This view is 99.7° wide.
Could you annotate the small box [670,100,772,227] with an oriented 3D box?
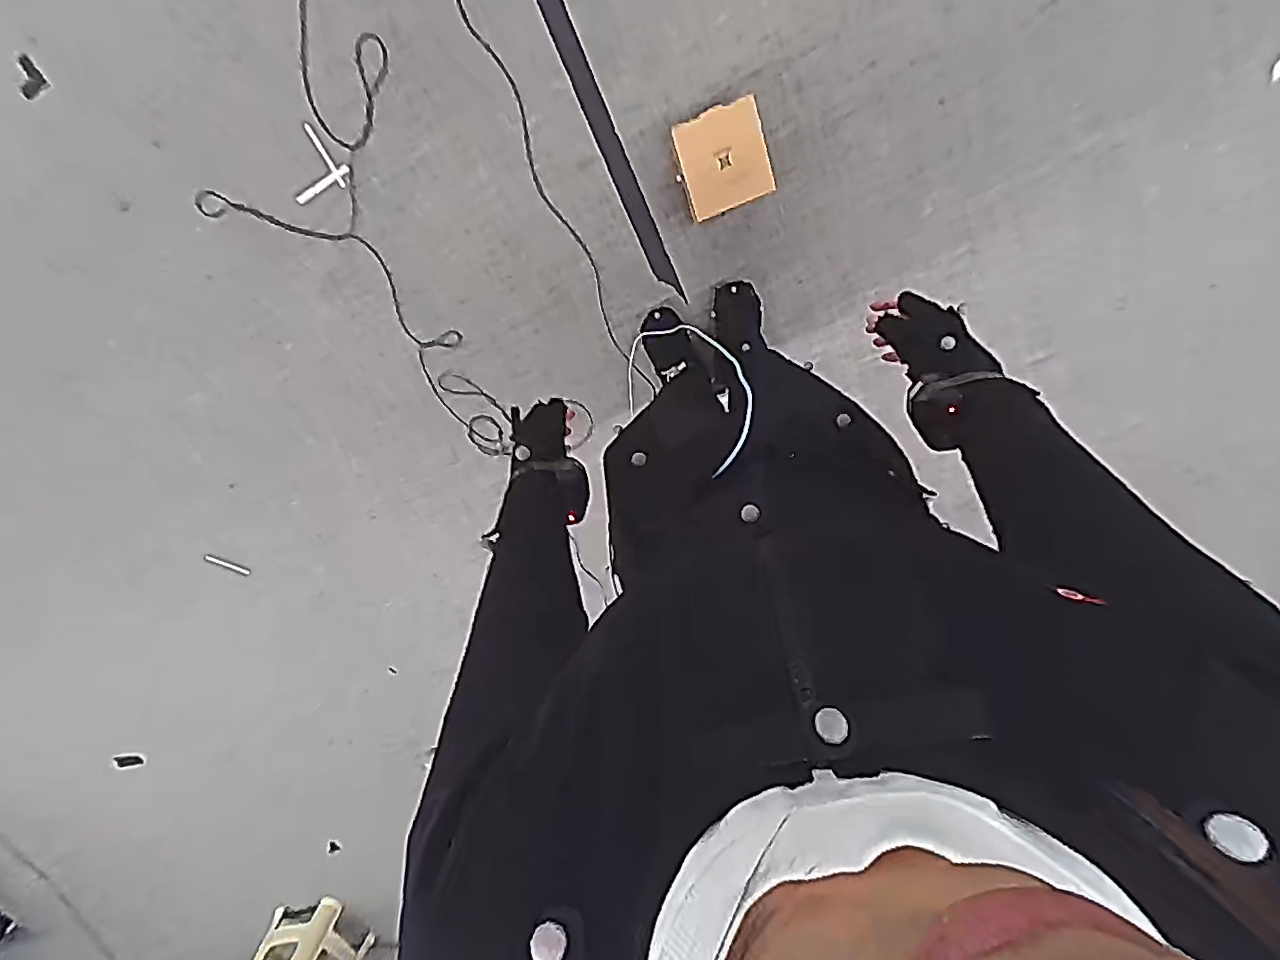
[{"bbox_3d":[0.166,-0.657,1.145,0.168,0.176,0.179,-17,111,11],"label":"small box"}]
